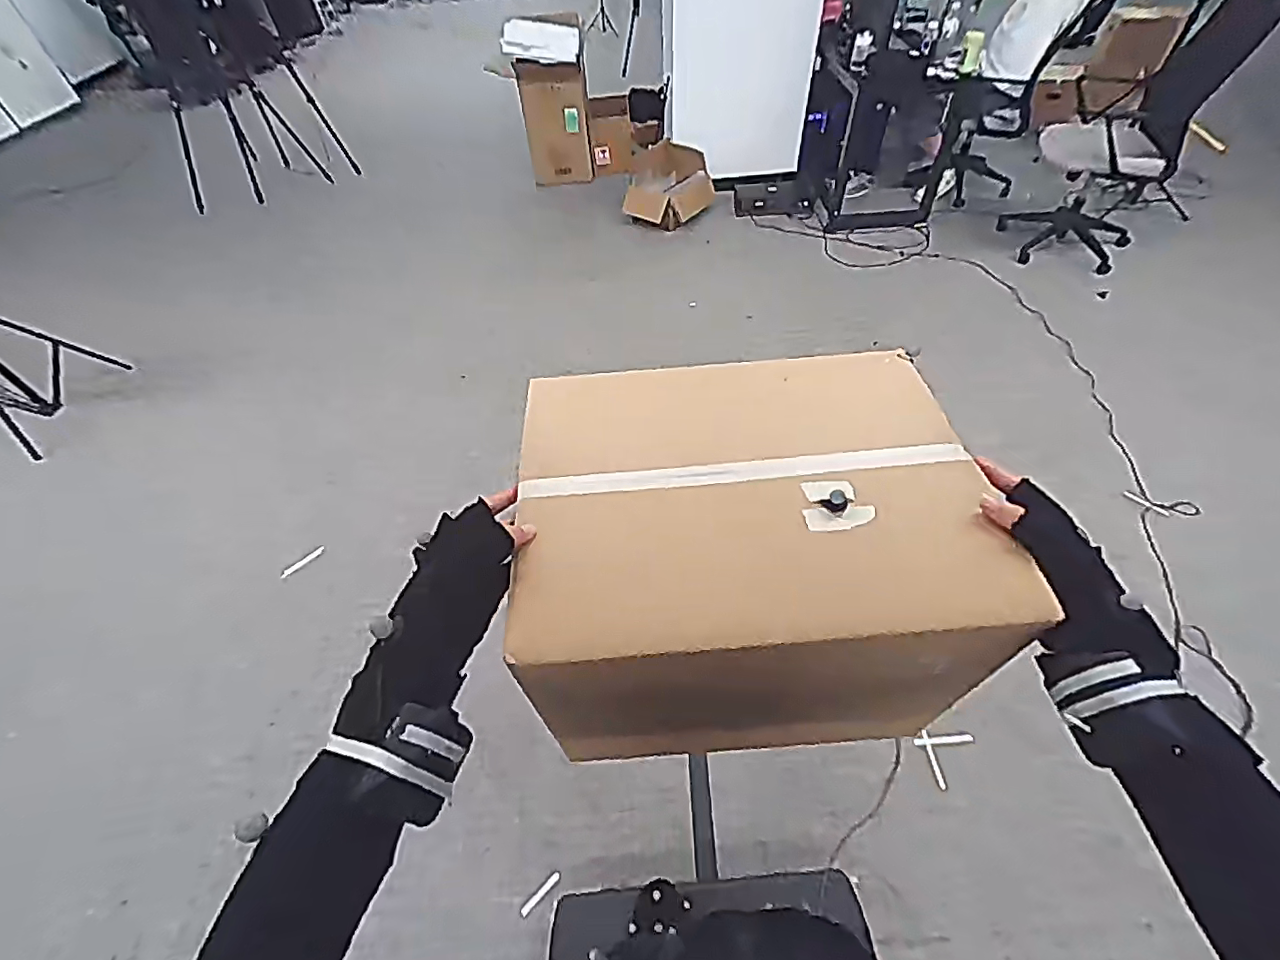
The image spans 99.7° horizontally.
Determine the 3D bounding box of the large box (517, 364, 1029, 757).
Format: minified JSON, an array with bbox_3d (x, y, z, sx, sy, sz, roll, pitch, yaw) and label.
[{"bbox_3d":[0.097,0.098,0.617,0.408,0.320,0.320,-4,51,-1],"label":"large box"}]
